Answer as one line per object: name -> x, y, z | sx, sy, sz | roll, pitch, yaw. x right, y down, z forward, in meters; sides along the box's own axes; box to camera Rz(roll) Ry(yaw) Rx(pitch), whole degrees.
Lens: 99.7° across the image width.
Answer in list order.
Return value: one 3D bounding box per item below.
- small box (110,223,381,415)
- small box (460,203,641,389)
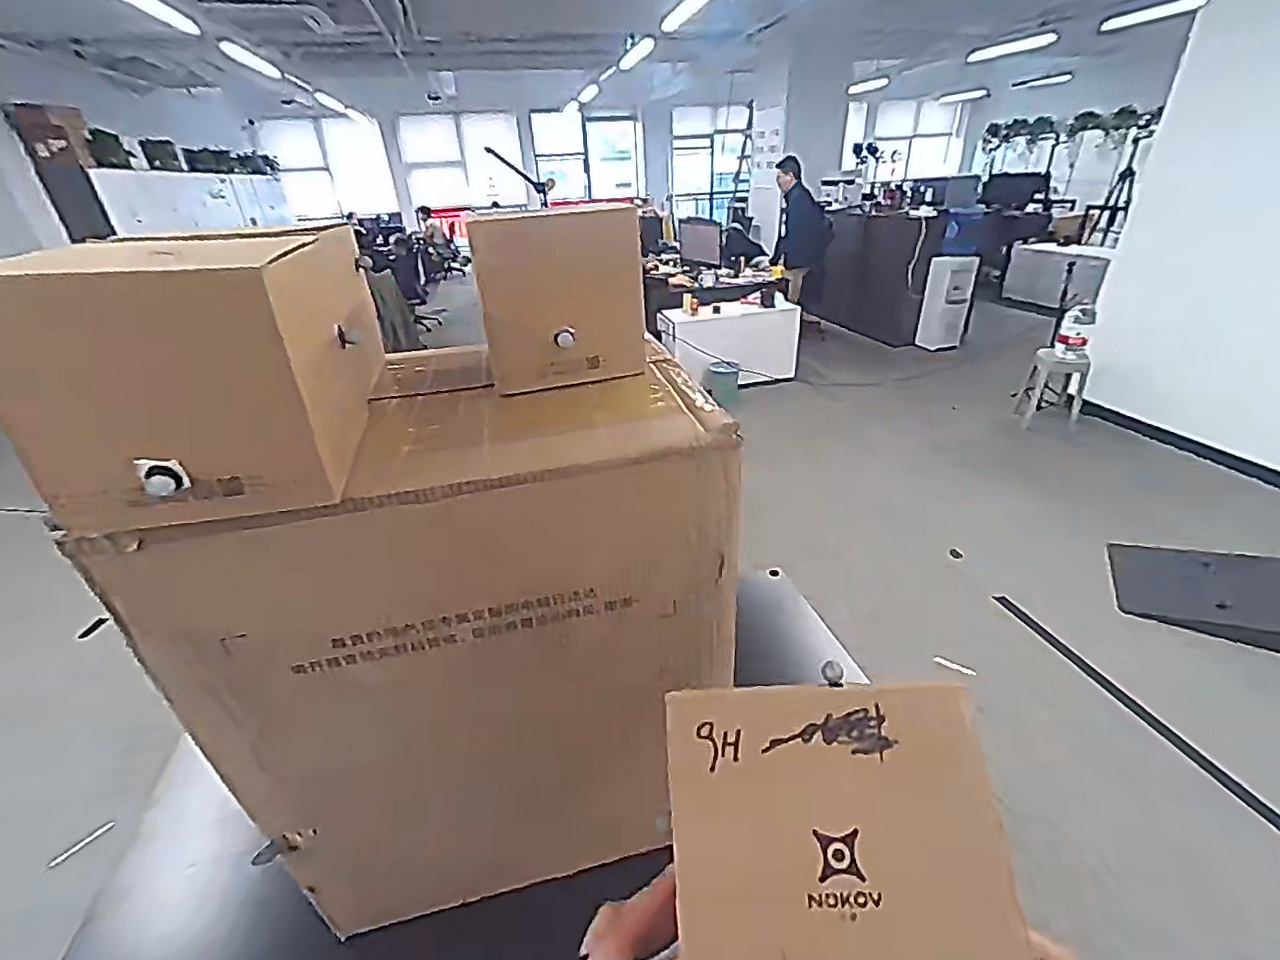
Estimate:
small box -> -0.393, -0.180, 0.584 | 0.168, 0.176, 0.179 | -10, 28, -13
small box -> -0.102, -0.213, 0.614 | 0.168, 0.176, 0.179 | -12, 29, -13
